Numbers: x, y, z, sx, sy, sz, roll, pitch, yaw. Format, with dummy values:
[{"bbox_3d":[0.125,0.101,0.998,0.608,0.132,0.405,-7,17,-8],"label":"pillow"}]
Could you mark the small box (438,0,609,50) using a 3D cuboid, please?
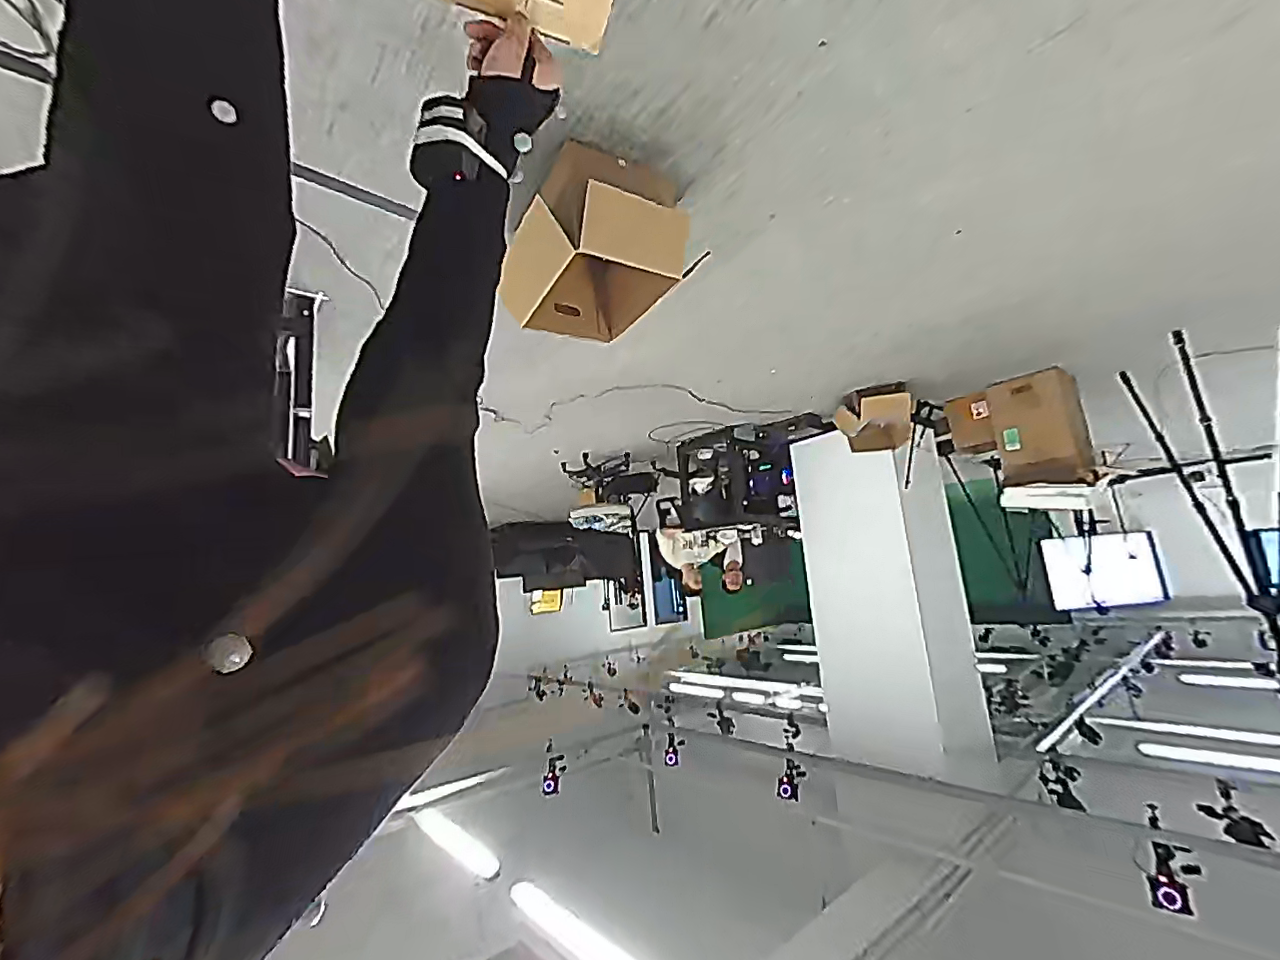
[{"bbox_3d":[-0.107,-0.536,0.475,0.168,0.176,0.179,-2,146,-24],"label":"small box"}]
